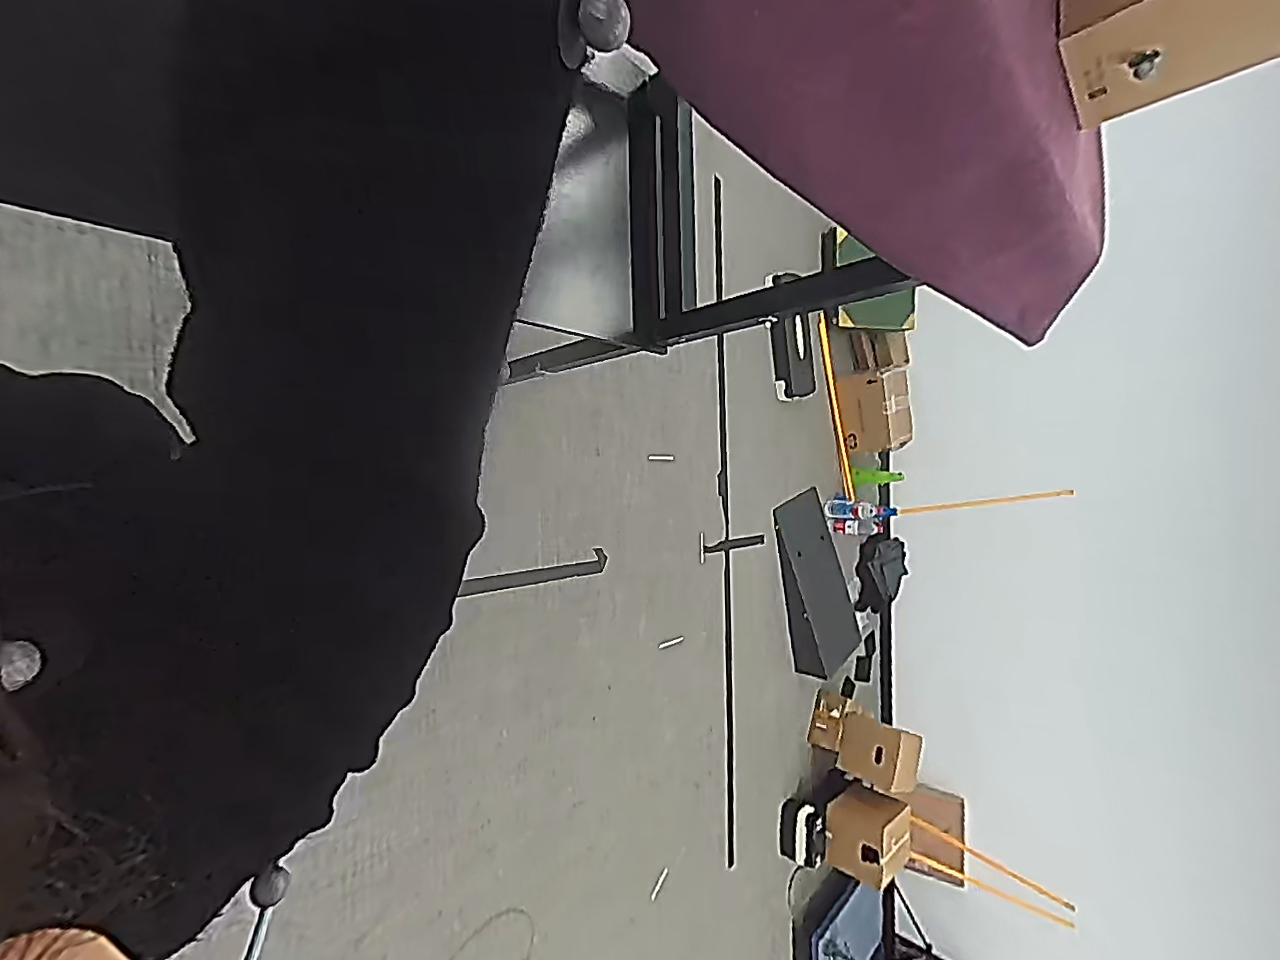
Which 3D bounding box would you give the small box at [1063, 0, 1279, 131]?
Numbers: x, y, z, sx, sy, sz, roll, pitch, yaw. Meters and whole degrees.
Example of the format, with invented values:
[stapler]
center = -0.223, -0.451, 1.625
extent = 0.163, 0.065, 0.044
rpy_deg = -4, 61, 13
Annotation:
[small box]
center = 0.499, -0.473, 0.492
extent = 0.168, 0.176, 0.179
rpy_deg = 4, 87, -45
